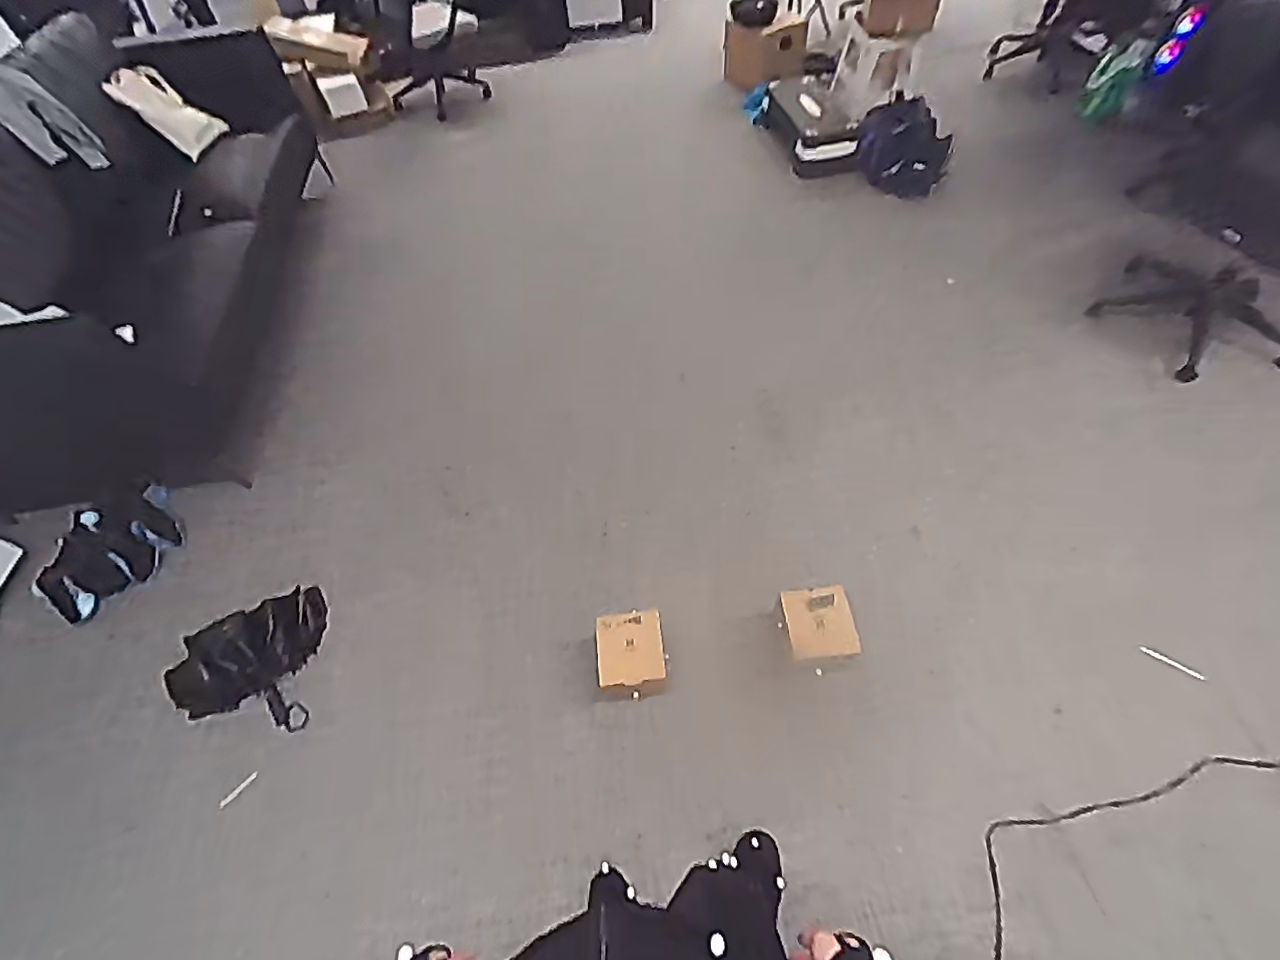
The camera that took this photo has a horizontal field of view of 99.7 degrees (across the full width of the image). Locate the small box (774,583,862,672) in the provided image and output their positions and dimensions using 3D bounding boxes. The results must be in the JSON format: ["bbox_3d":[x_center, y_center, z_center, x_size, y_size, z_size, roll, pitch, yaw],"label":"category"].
[{"bbox_3d":[0.459,0.392,1.426,0.168,0.176,0.179,-7,58,2],"label":"small box"}]

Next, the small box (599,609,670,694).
[{"bbox_3d":[-0.013,0.460,1.432,0.168,0.176,0.179,-7,57,1],"label":"small box"}]
